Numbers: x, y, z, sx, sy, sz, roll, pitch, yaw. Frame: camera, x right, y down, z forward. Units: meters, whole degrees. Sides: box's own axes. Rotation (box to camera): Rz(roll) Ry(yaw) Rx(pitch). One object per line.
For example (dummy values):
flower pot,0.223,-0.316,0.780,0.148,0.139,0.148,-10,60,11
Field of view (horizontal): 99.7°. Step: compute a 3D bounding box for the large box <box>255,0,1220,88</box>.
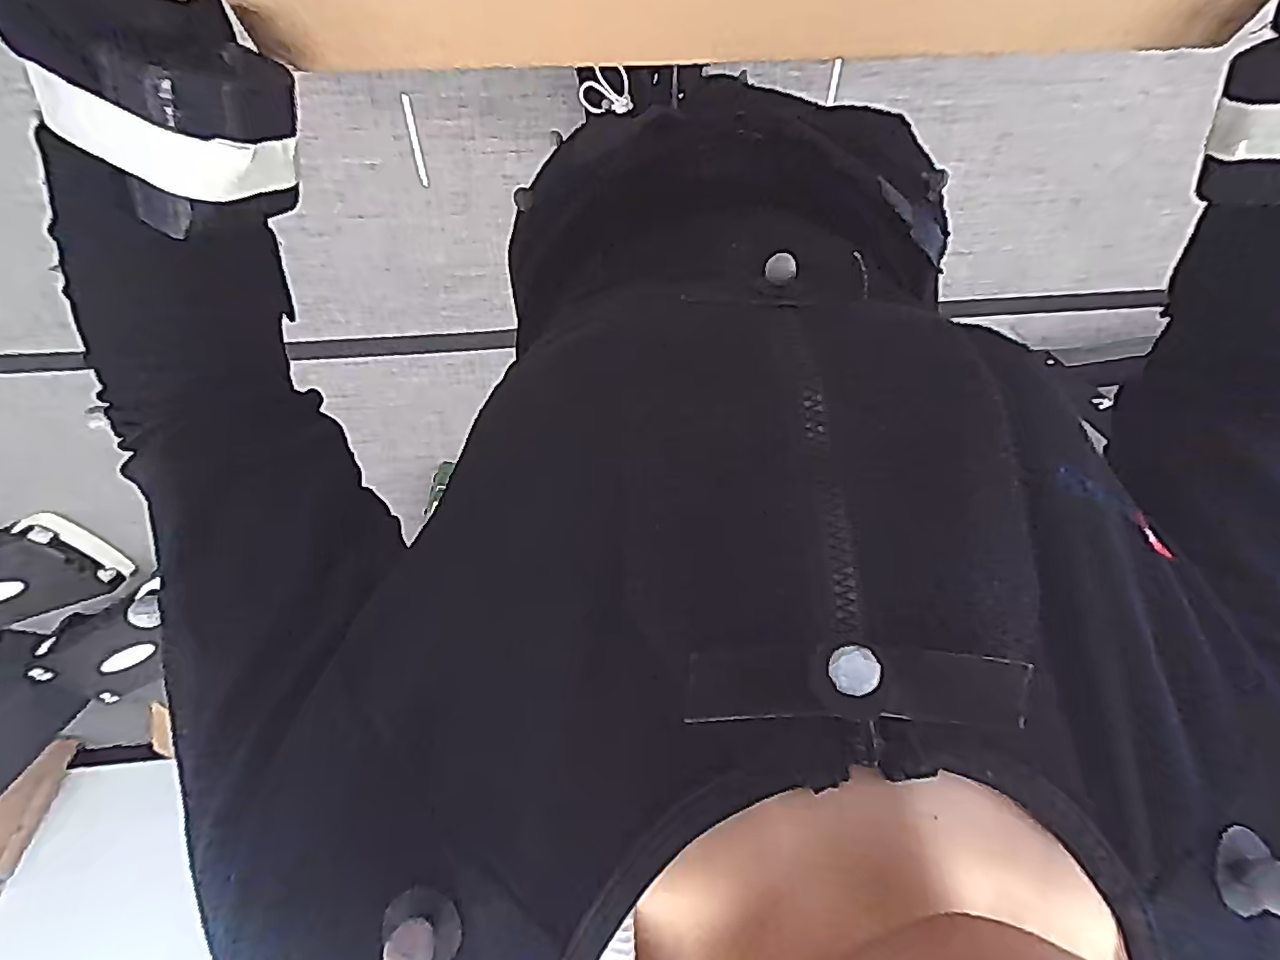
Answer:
large box,0.043,-0.374,0.145,0.408,0.320,0.320,-4,160,-3
